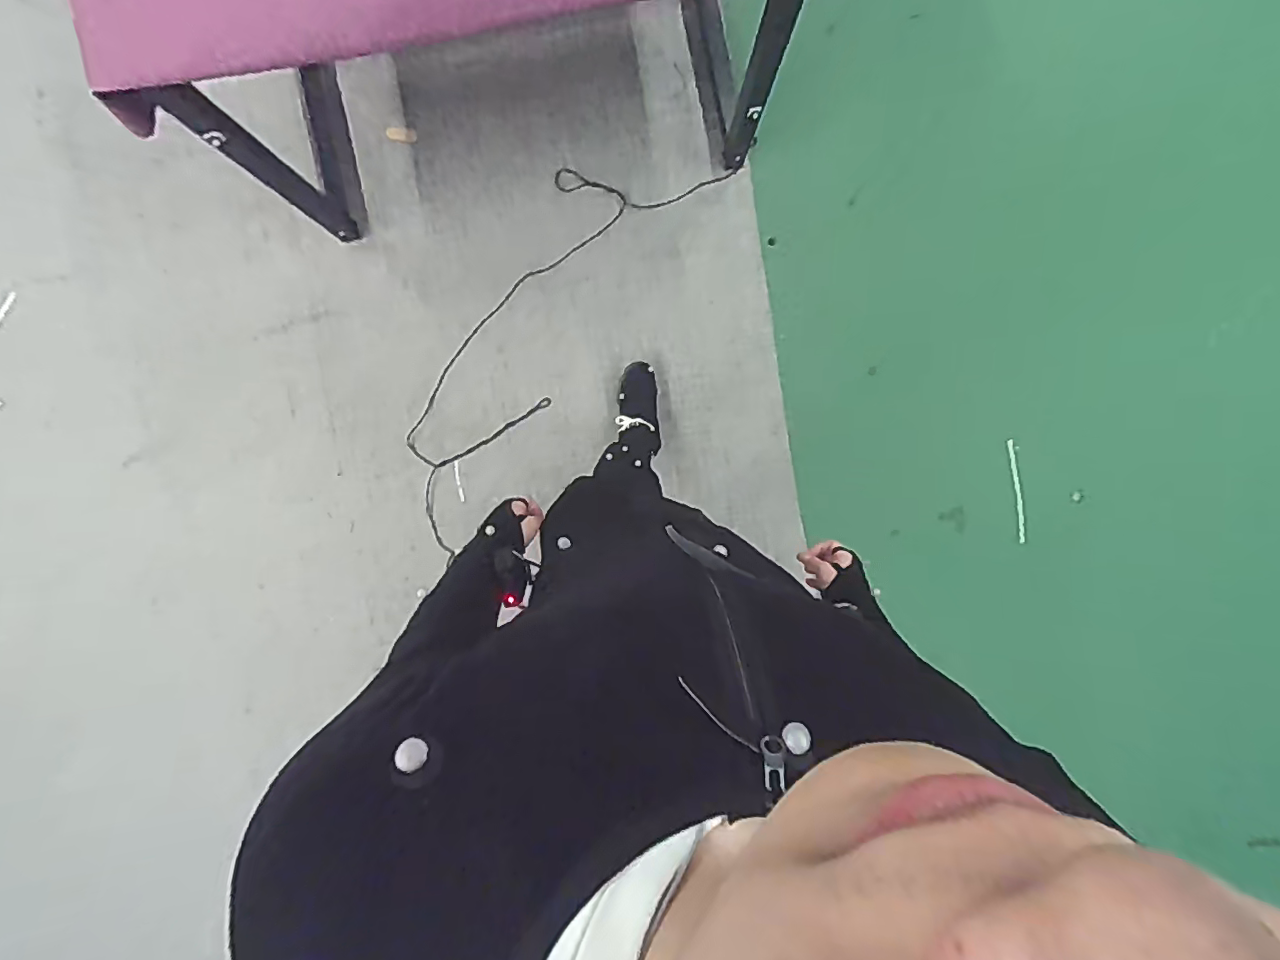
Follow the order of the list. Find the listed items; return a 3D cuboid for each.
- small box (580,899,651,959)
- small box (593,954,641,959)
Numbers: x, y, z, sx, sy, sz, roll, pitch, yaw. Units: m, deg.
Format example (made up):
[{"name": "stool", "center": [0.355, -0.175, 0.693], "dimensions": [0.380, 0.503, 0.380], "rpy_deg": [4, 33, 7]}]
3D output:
[{"name": "small box", "center": [-0.065, 1.382, 1.572], "dimensions": [0.168, 0.176, 0.179], "rpy_deg": [-16, 92, 0]}, {"name": "small box", "center": [-0.063, 1.389, 1.409], "dimensions": [0.168, 0.176, 0.179], "rpy_deg": [-13, 94, 0]}]
